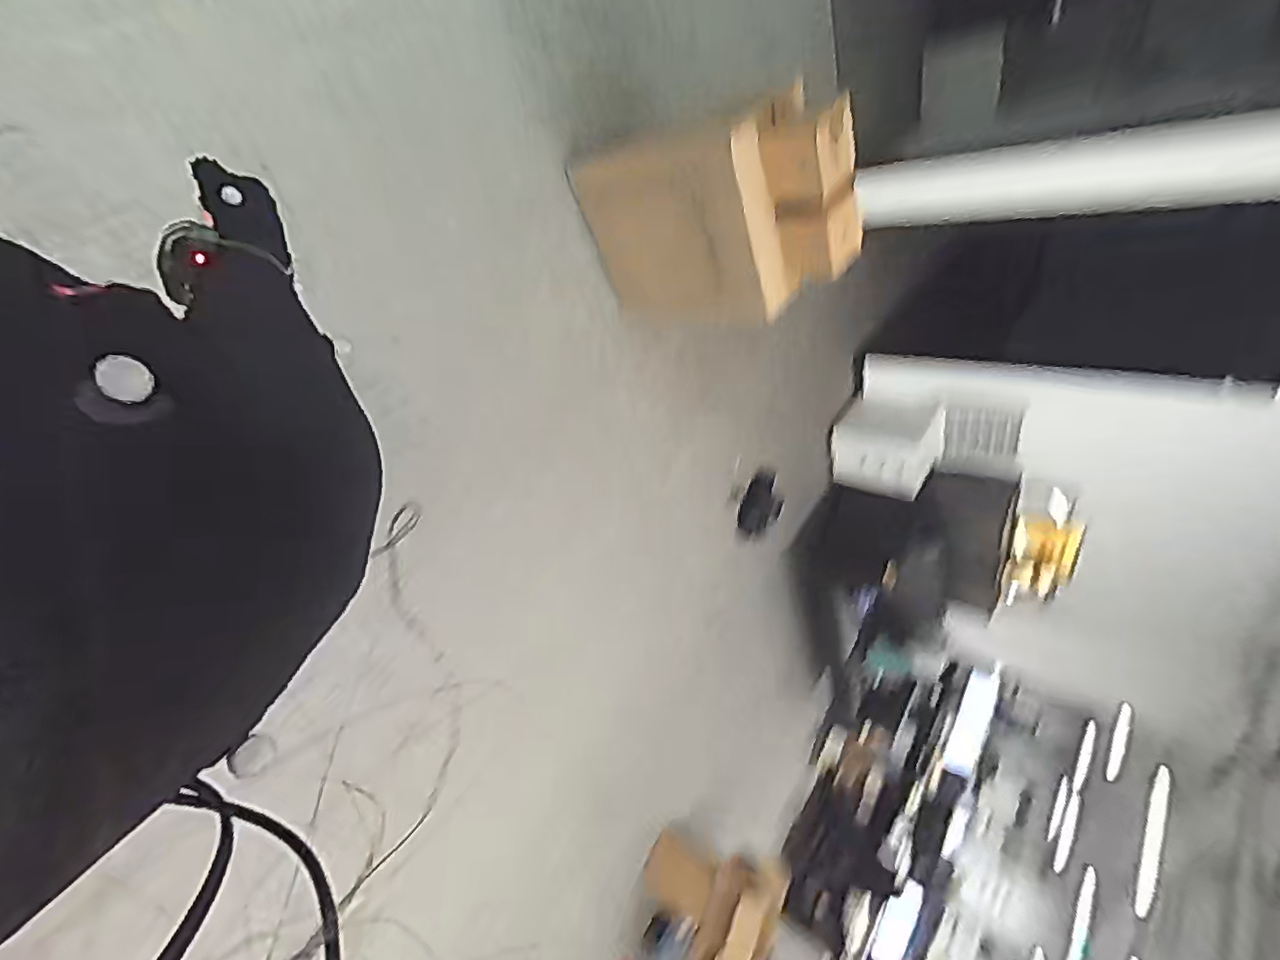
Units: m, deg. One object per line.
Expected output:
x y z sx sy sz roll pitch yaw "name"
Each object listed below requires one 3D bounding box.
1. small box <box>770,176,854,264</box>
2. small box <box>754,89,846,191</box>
0.501 -0.756 1.581 0.168 0.176 0.179 -49 137 -18 "small box"
0.424 -0.893 1.436 0.168 0.176 0.179 -49 136 -20 "small box"
